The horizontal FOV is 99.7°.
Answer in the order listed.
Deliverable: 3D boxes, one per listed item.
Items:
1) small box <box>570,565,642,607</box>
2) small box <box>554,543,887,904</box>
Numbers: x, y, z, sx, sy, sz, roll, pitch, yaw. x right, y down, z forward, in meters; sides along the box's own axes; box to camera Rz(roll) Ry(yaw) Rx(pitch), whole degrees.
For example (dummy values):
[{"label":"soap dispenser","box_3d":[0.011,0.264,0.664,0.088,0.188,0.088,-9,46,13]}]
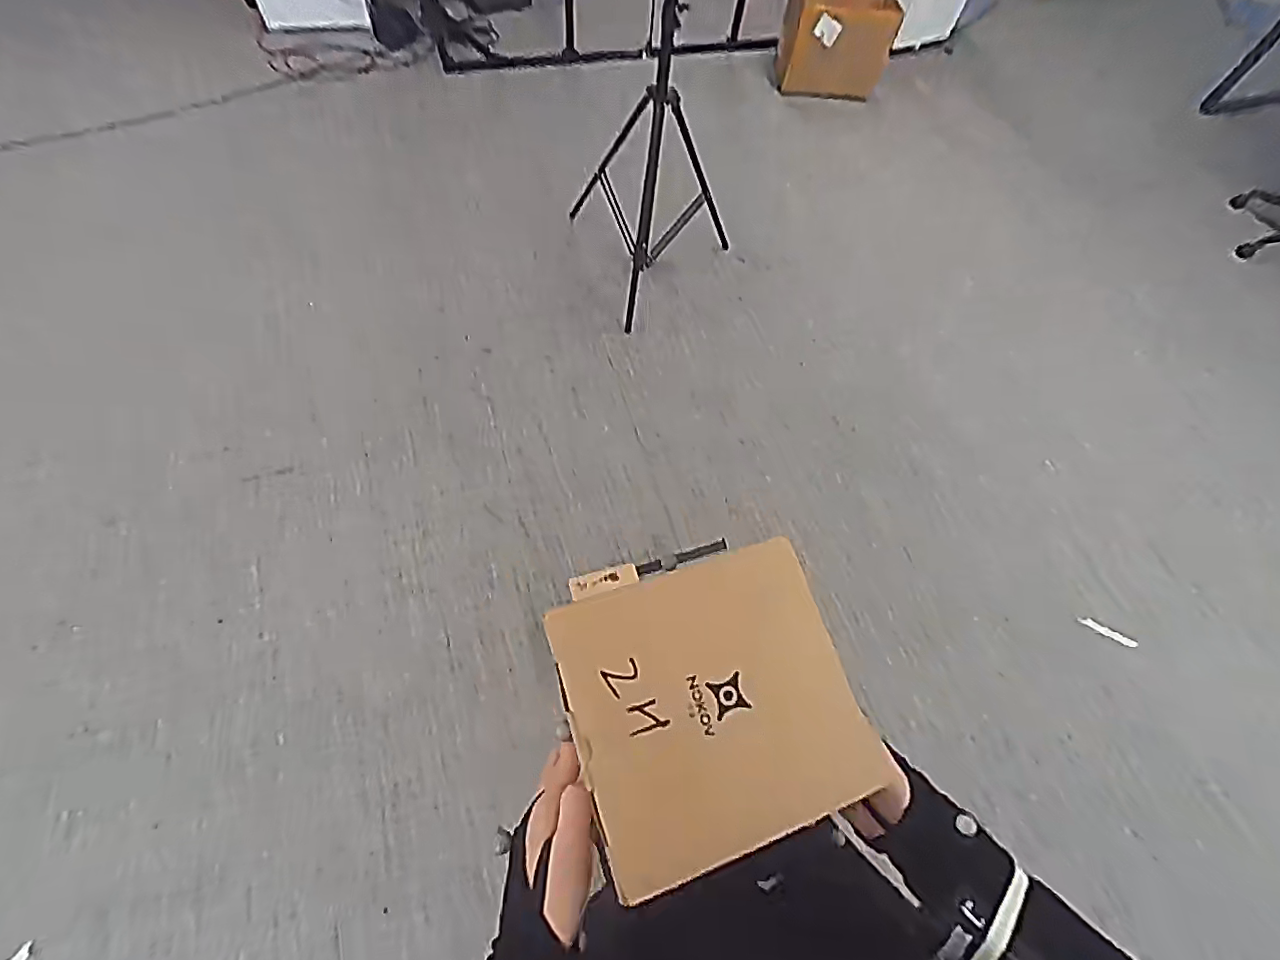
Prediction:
[{"label":"small box","box_3d":[-0.072,0.330,1.331,0.168,0.176,0.179,-12,66,-12]},{"label":"small box","box_3d":[0.037,0.162,0.410,0.179,0.176,0.168,-15,74,-13]}]
